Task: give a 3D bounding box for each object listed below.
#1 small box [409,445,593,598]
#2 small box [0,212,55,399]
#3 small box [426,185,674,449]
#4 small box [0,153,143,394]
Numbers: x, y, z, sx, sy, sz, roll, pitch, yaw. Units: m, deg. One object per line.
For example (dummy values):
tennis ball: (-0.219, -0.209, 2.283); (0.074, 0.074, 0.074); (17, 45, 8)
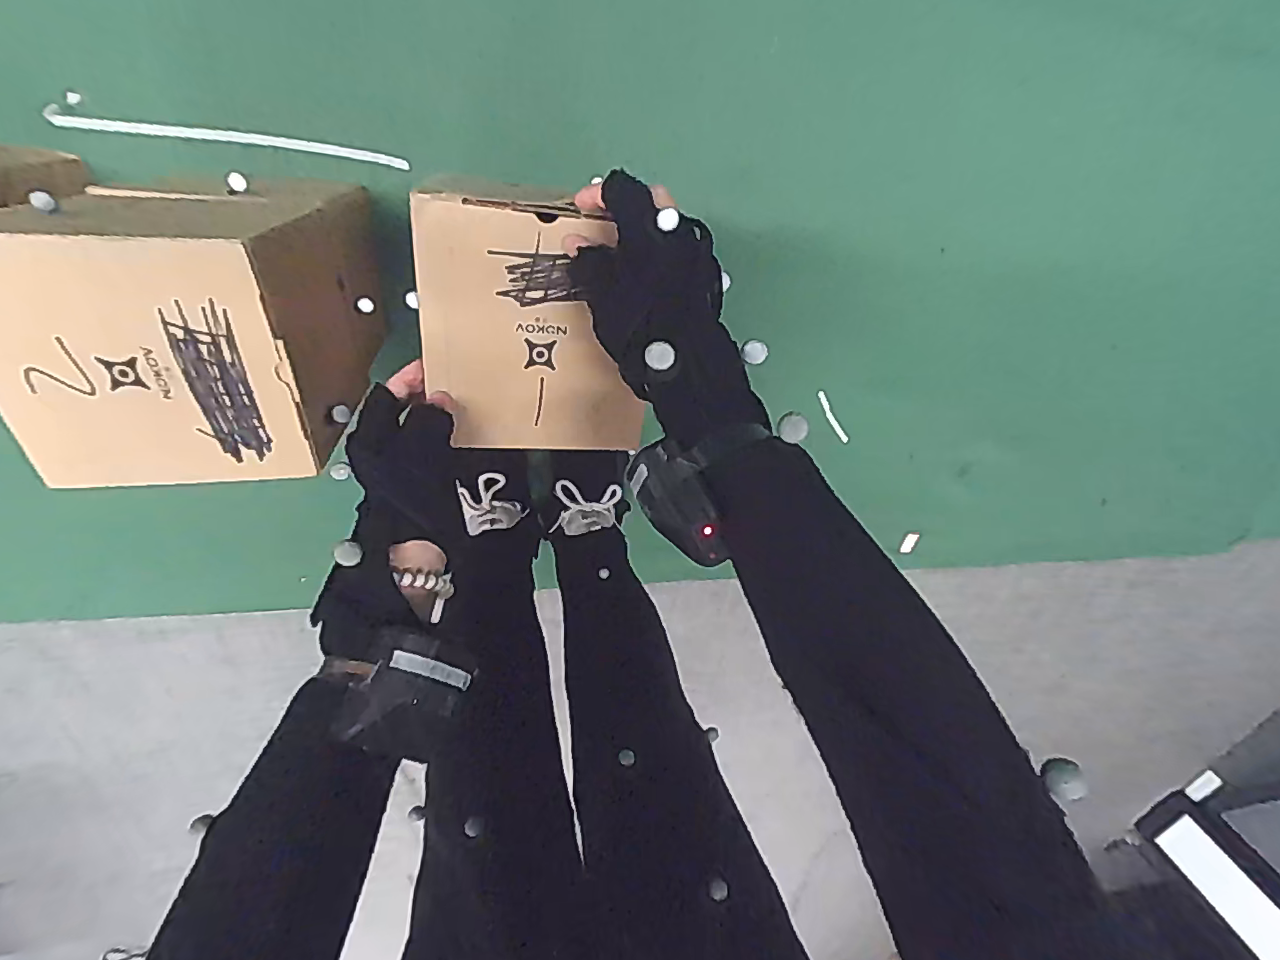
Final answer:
small box: (-0.194, 0.028, 0.759); (0.179, 0.176, 0.168); (36, 119, -10)
small box: (-0.579, -0.122, 0.361); (0.179, 0.176, 0.168); (3, 121, -14)
small box: (-0.082, -0.142, 0.460); (0.168, 0.176, 0.179); (1, 121, -13)
small box: (-0.619, -0.200, 0.501); (0.168, 0.176, 0.179); (4, 121, -14)
